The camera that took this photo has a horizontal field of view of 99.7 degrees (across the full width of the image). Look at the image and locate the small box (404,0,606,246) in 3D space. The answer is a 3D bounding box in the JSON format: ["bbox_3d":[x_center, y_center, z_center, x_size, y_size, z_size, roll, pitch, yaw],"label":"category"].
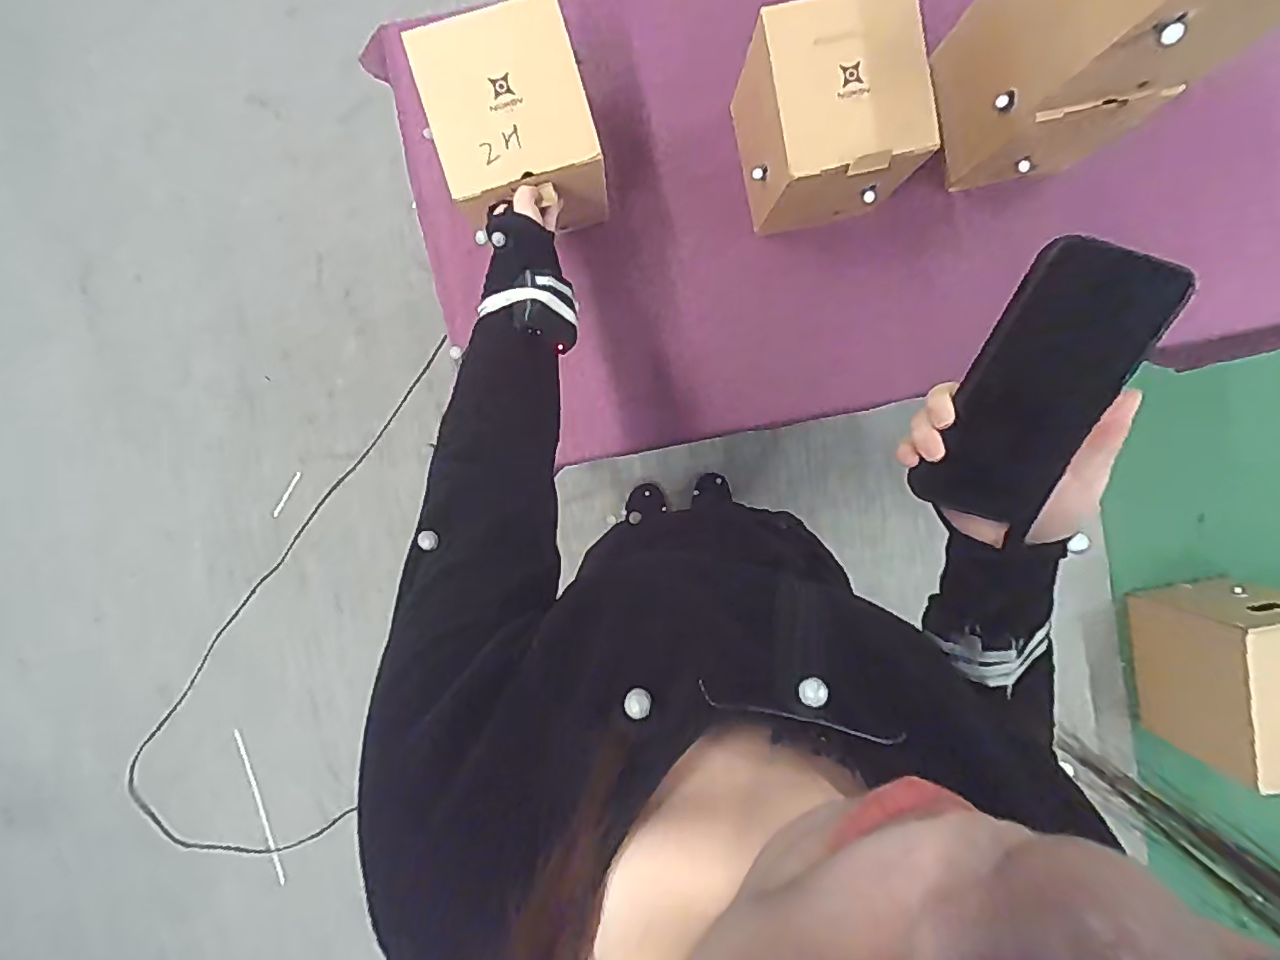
[{"bbox_3d":[-0.143,-0.408,0.637,0.168,0.176,0.179,-17,95,1],"label":"small box"}]

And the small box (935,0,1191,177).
[{"bbox_3d":[0.477,-0.496,0.636,0.168,0.176,0.179,-12,96,1],"label":"small box"}]

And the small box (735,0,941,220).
[{"bbox_3d":[0.220,-0.431,0.640,0.168,0.176,0.179,-12,95,0],"label":"small box"}]
